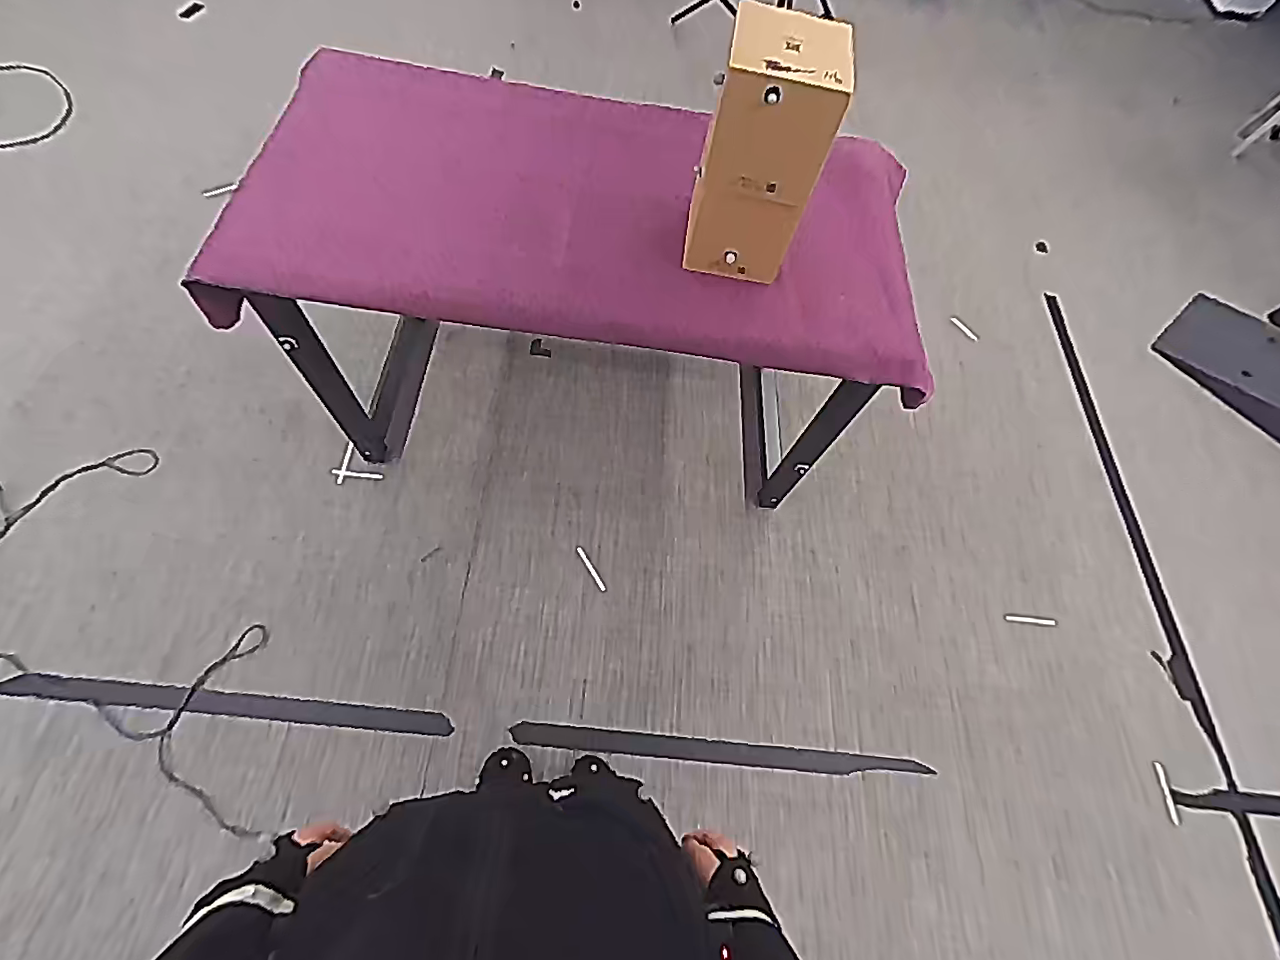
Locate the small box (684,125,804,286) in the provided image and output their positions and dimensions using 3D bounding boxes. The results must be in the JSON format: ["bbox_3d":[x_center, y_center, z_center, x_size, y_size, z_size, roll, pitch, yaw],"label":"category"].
[{"bbox_3d":[0.176,-0.474,0.944,0.168,0.176,0.179,9,64,-2],"label":"small box"}]

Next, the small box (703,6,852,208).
[{"bbox_3d":[0.194,-0.541,0.795,0.168,0.176,0.179,11,63,-1],"label":"small box"}]
